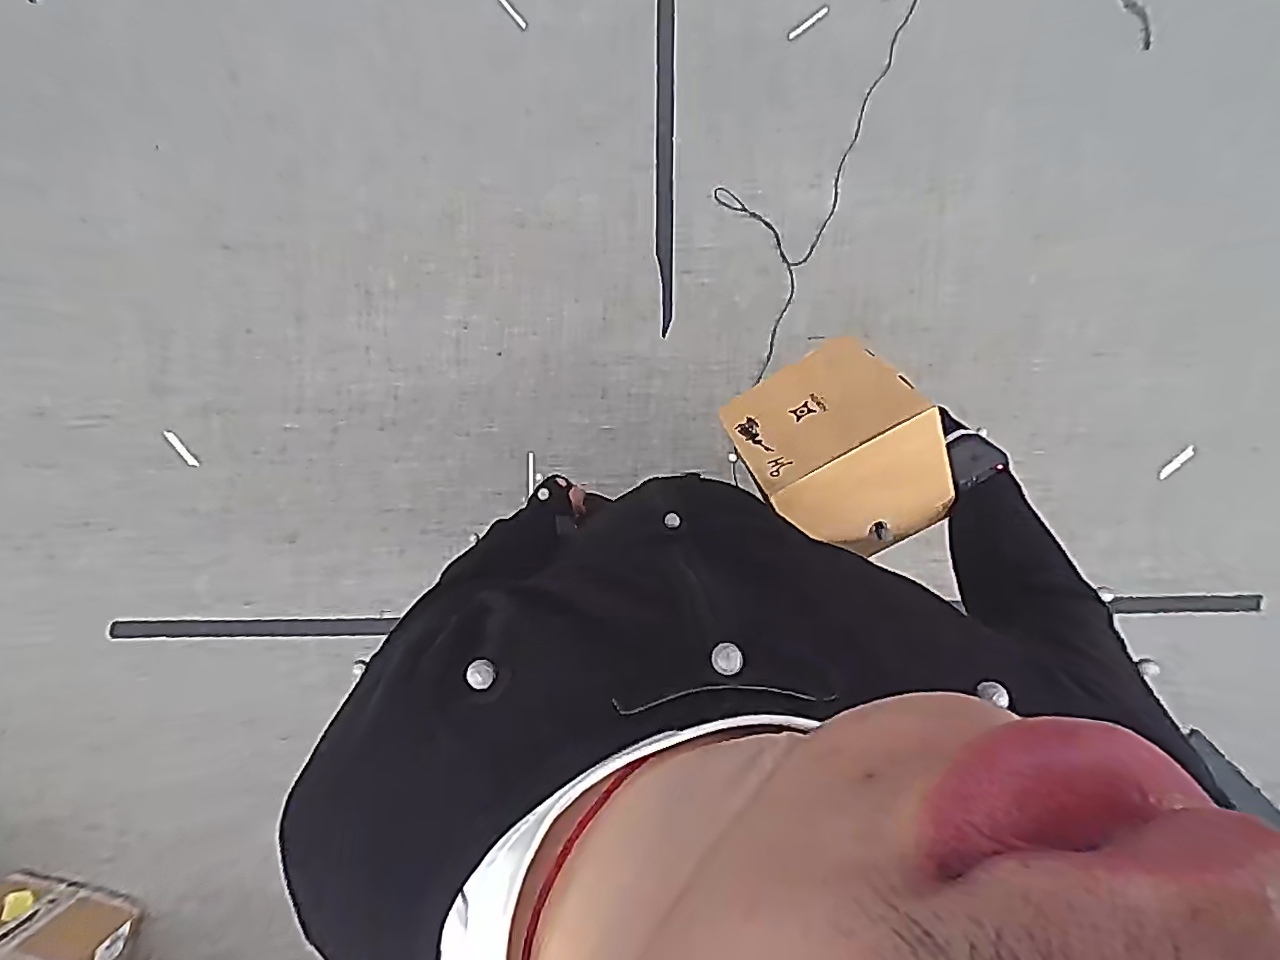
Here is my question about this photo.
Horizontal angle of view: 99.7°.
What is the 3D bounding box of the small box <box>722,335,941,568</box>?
[{"bbox_3d":[0.225,-0.030,0.635,0.179,0.168,0.176,-29,127,9],"label":"small box"}]
